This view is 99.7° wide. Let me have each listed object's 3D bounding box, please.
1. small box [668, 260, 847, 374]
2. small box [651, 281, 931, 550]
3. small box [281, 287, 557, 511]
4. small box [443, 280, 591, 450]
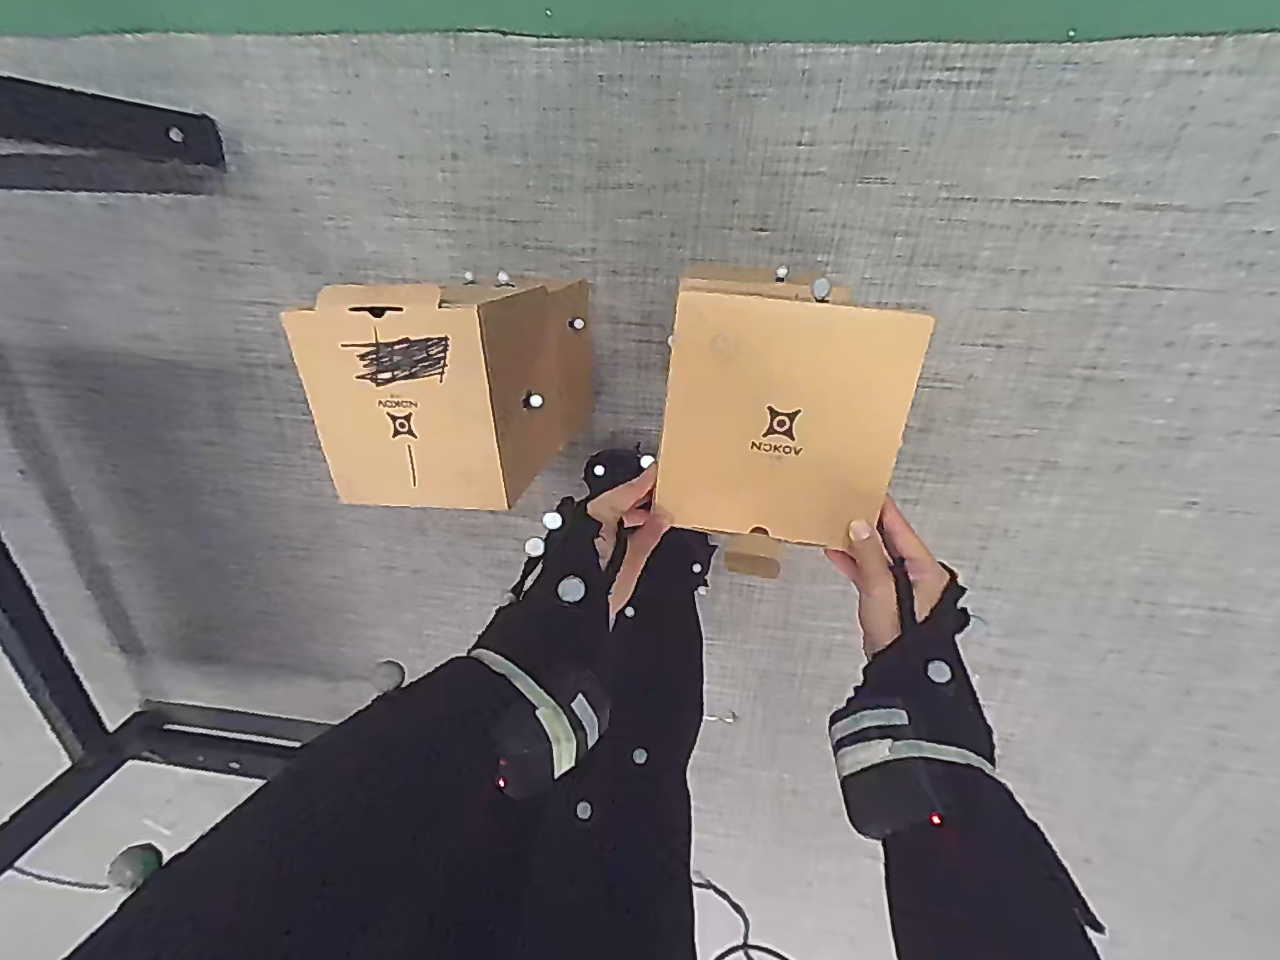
[{"bbox_3d":[0.122,-0.148,0.624,0.168,0.176,0.179,6,117,5],"label":"small box"},{"bbox_3d":[0.104,-0.066,0.450,0.168,0.176,0.179,7,112,4],"label":"small box"},{"bbox_3d":[-0.185,-0.087,0.515,0.168,0.176,0.179,2,115,9],"label":"small box"},{"bbox_3d":[-0.161,-0.149,0.665,0.168,0.176,0.179,2,115,8],"label":"small box"}]
